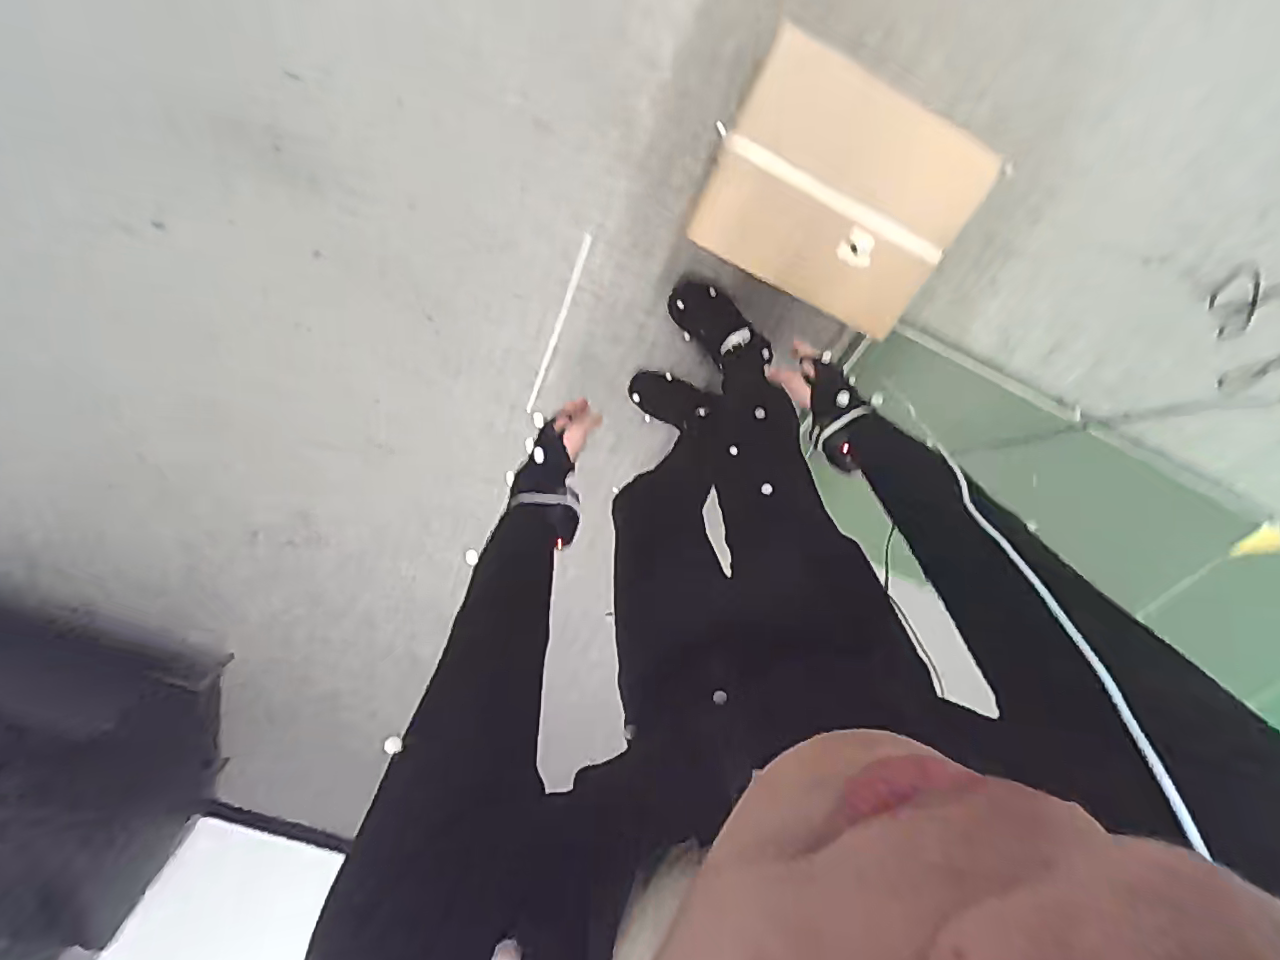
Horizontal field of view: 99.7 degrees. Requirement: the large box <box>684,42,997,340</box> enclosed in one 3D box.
[{"bbox_3d":[0.329,-0.520,1.019,0.408,0.320,0.320,24,118,-10],"label":"large box"}]
